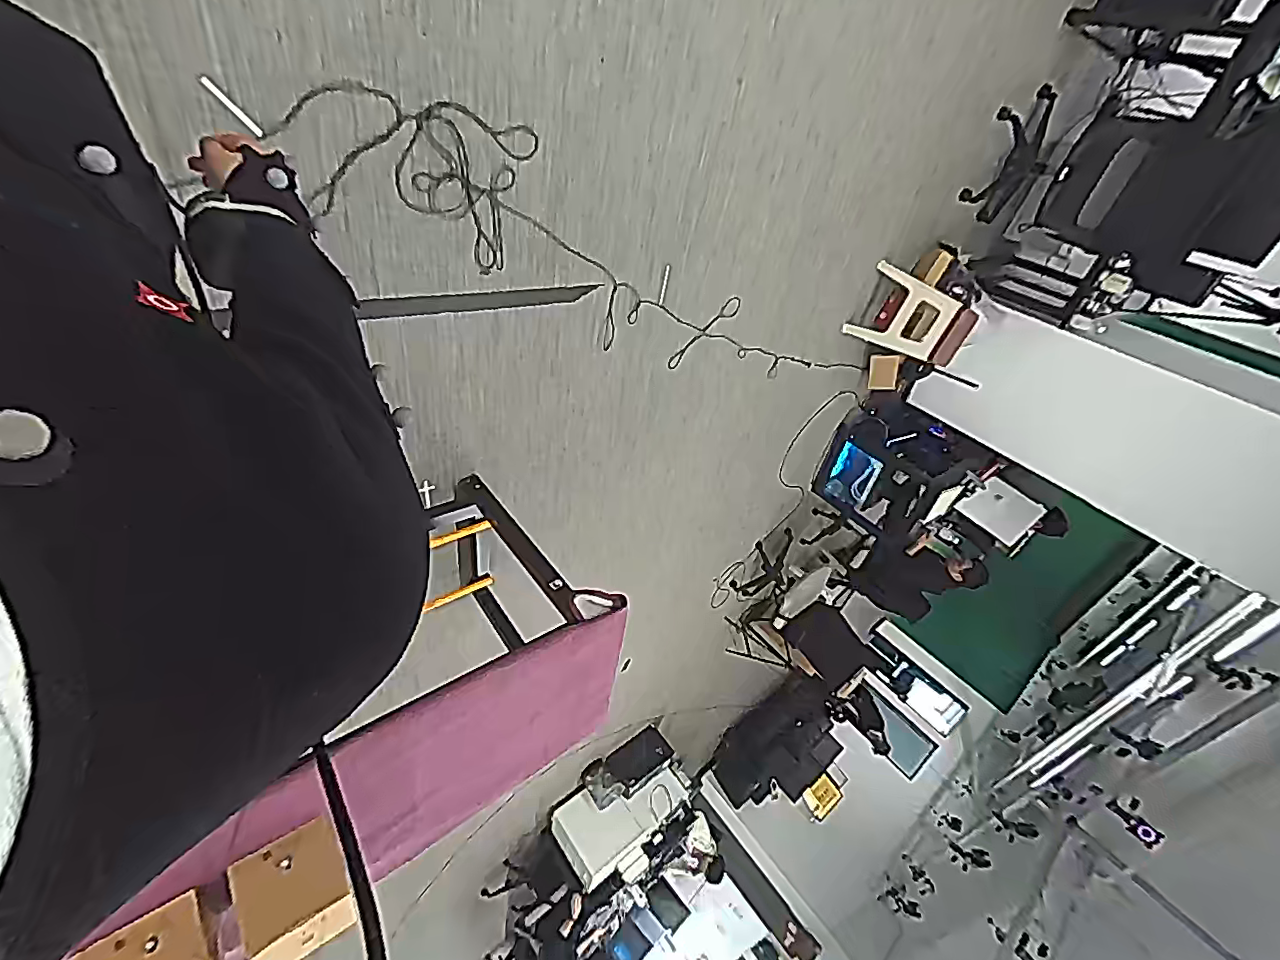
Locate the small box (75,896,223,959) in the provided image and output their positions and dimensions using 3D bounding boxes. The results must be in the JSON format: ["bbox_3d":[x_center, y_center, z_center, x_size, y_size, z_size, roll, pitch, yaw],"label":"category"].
[{"bbox_3d":[-0.833,0.871,0.931,0.168,0.176,0.179,-17,137,-38],"label":"small box"}]

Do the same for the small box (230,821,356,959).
[{"bbox_3d":[-0.671,0.814,1.054,0.168,0.176,0.179,-17,137,-38],"label":"small box"}]
